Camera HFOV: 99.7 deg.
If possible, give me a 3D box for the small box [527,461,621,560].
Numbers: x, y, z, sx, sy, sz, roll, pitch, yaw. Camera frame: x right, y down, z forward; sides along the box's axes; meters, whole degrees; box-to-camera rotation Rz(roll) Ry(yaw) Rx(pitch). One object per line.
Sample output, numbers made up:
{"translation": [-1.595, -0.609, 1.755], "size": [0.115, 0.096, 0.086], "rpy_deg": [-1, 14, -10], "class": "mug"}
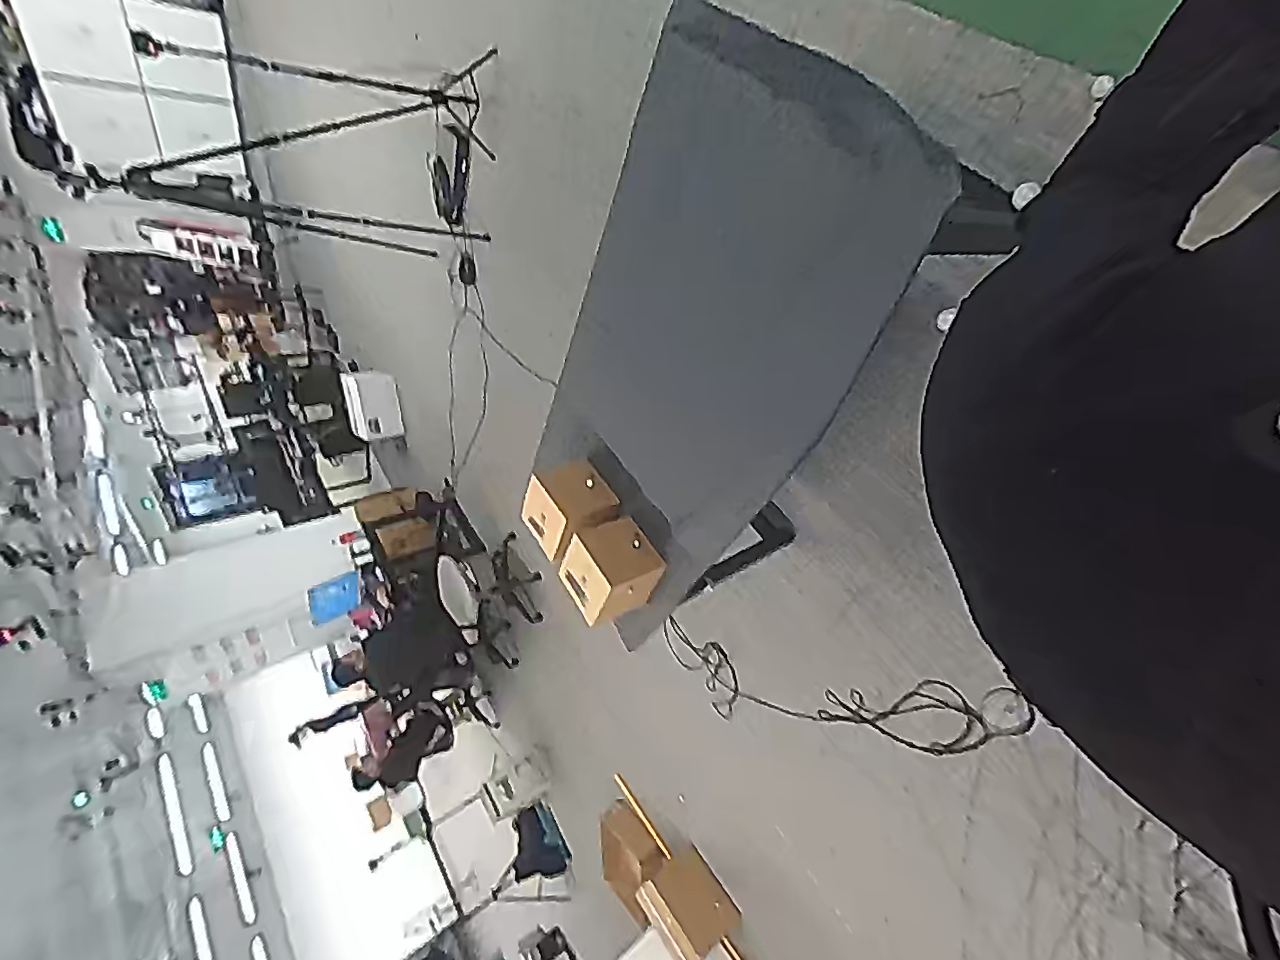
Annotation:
{"translation": [-0.173, 0.075, 1.413], "size": [0.168, 0.176, 0.179], "rpy_deg": [50, 137, 27], "class": "small box"}
